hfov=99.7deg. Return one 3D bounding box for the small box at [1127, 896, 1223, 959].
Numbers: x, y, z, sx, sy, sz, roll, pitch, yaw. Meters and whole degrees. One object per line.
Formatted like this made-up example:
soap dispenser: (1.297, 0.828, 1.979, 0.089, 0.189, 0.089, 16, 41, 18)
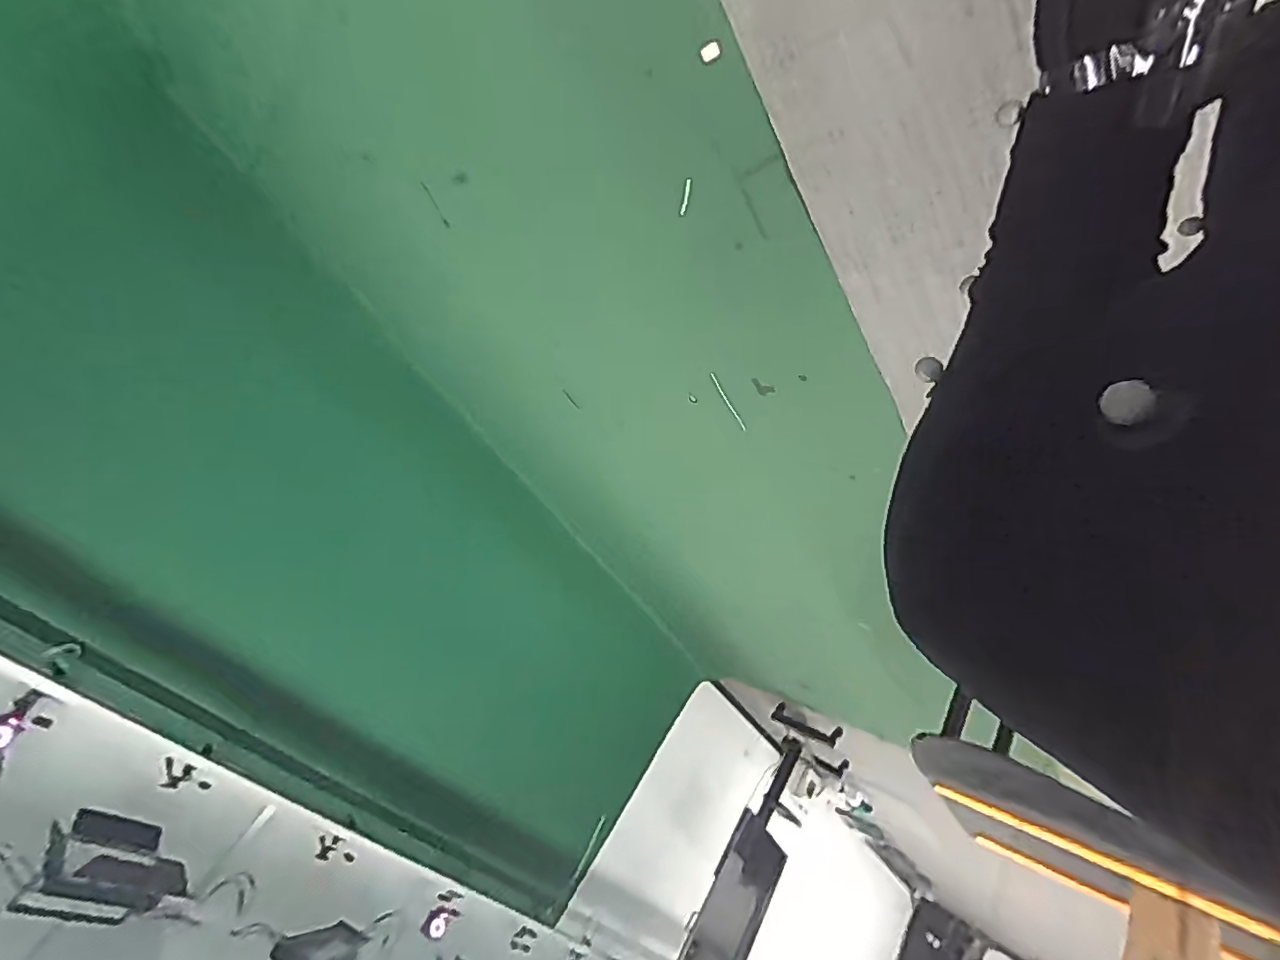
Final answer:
small box: (1.494, 1.318, 1.506, 0.168, 0.176, 0.179, -2, 134, 53)
